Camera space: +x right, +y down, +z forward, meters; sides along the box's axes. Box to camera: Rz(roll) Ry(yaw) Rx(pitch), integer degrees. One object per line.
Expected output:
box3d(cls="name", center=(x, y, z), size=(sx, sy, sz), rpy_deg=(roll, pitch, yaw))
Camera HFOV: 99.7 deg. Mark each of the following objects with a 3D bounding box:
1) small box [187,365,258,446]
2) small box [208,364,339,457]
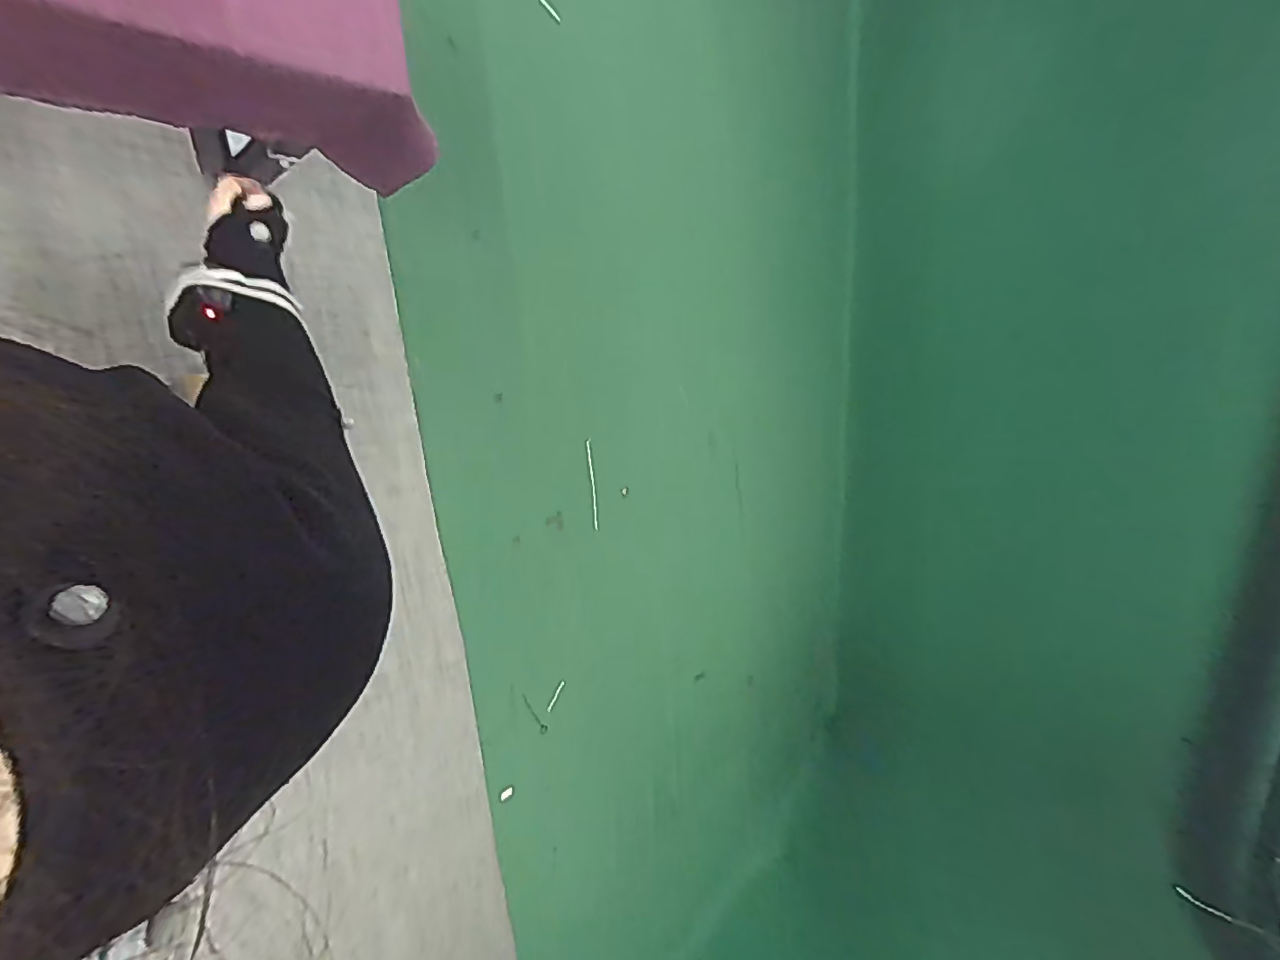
box3d(cls="small box", center=(-0.881, -0.170, 1.207), size=(0.179, 0.176, 0.168), rpy_deg=(-16, 109, -48))
box3d(cls="small box", center=(-0.754, -0.149, 1.108), size=(0.179, 0.176, 0.168), rpy_deg=(-19, 113, -47))
